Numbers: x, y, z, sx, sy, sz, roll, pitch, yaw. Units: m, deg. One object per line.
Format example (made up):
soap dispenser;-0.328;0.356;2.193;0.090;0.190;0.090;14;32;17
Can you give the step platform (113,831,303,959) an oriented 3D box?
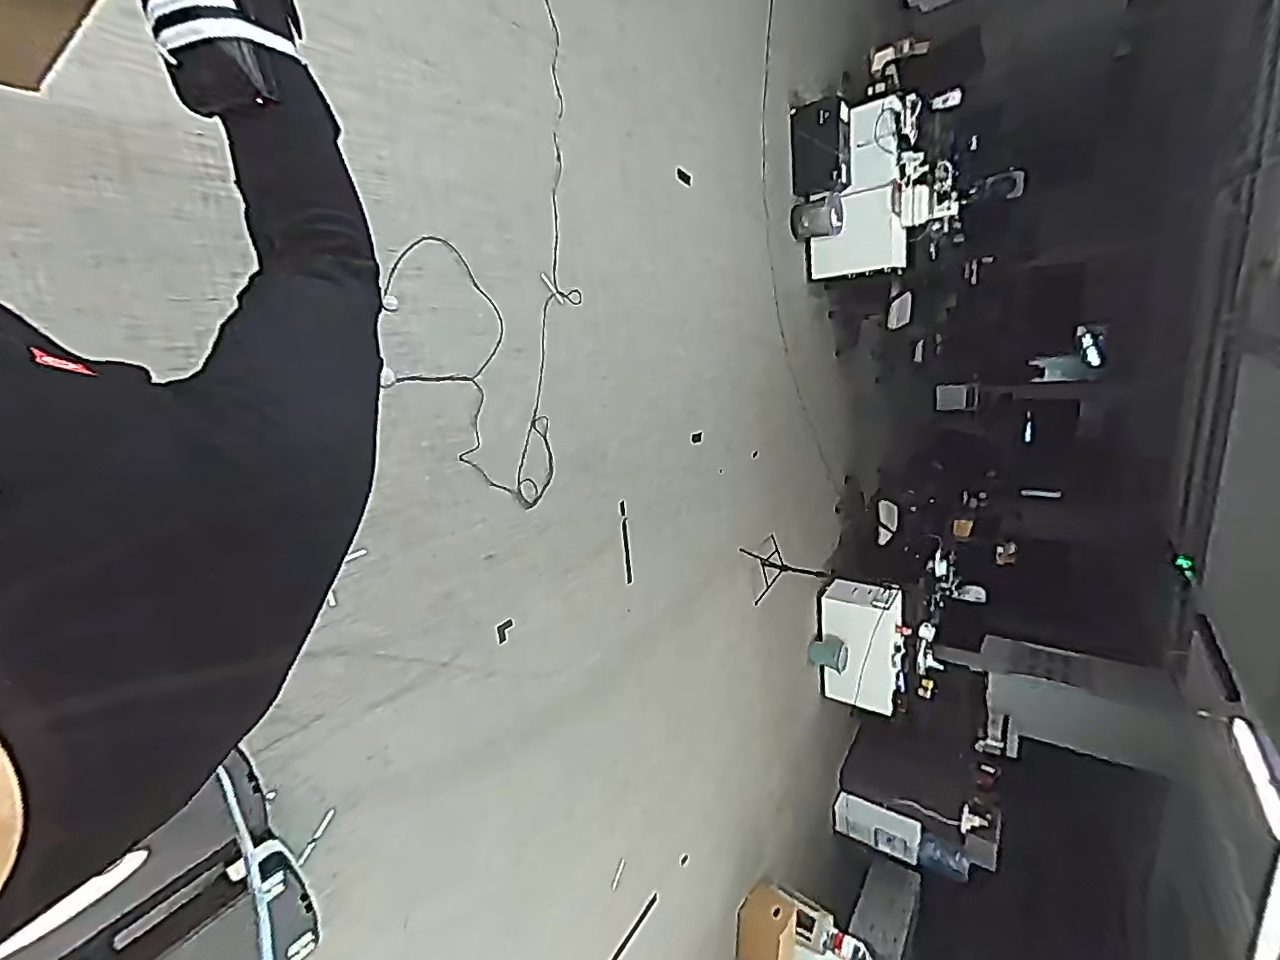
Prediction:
step platform;-1.075;1.086;1.077;0.684;0.204;0.286;-28;115;-47
